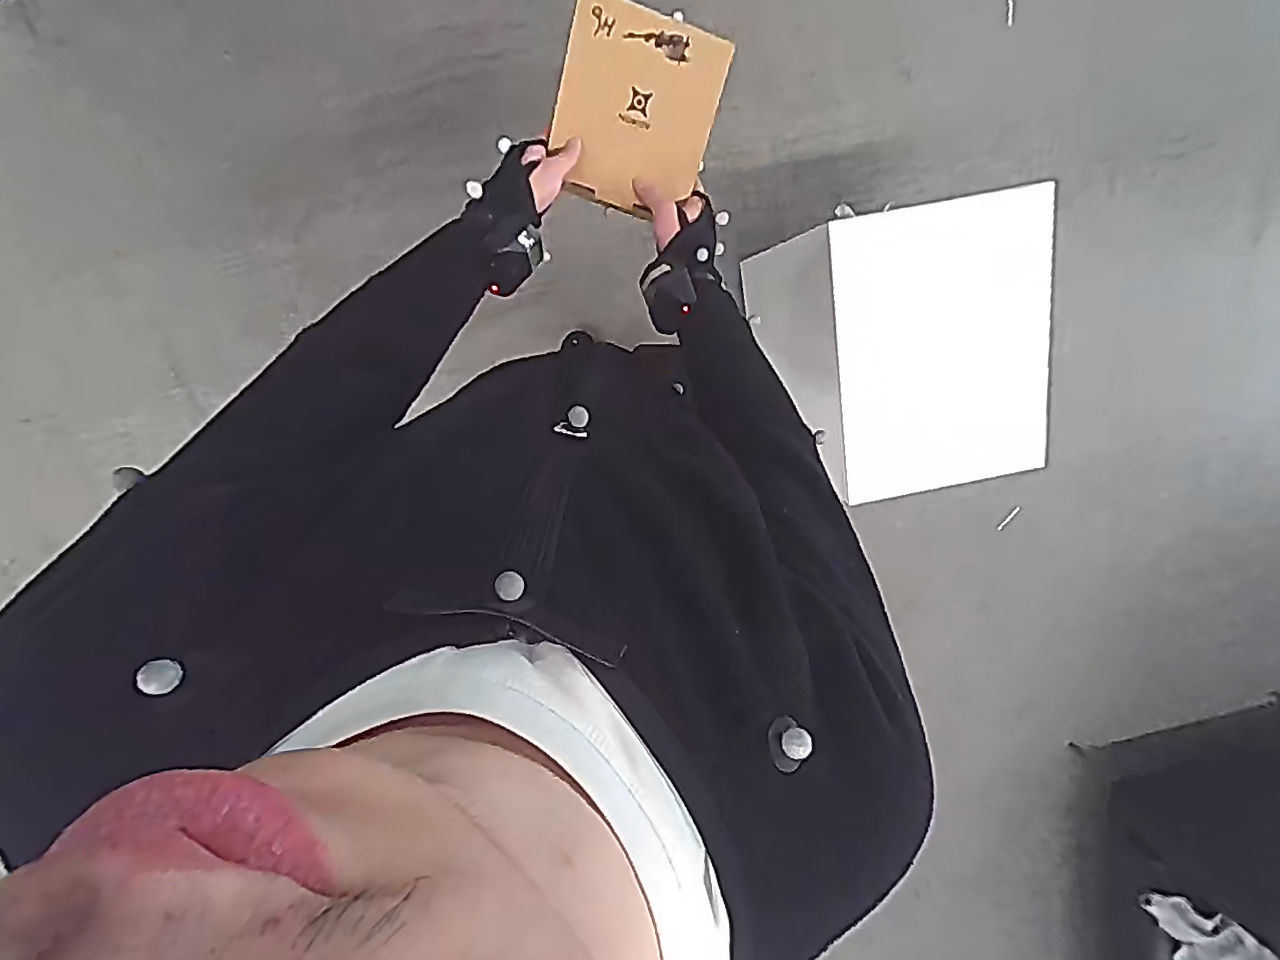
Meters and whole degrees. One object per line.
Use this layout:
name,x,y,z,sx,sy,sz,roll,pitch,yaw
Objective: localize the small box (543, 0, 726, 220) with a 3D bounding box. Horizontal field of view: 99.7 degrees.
small box,-0.013,-0.428,0.652,0.168,0.176,0.179,12,112,-9
